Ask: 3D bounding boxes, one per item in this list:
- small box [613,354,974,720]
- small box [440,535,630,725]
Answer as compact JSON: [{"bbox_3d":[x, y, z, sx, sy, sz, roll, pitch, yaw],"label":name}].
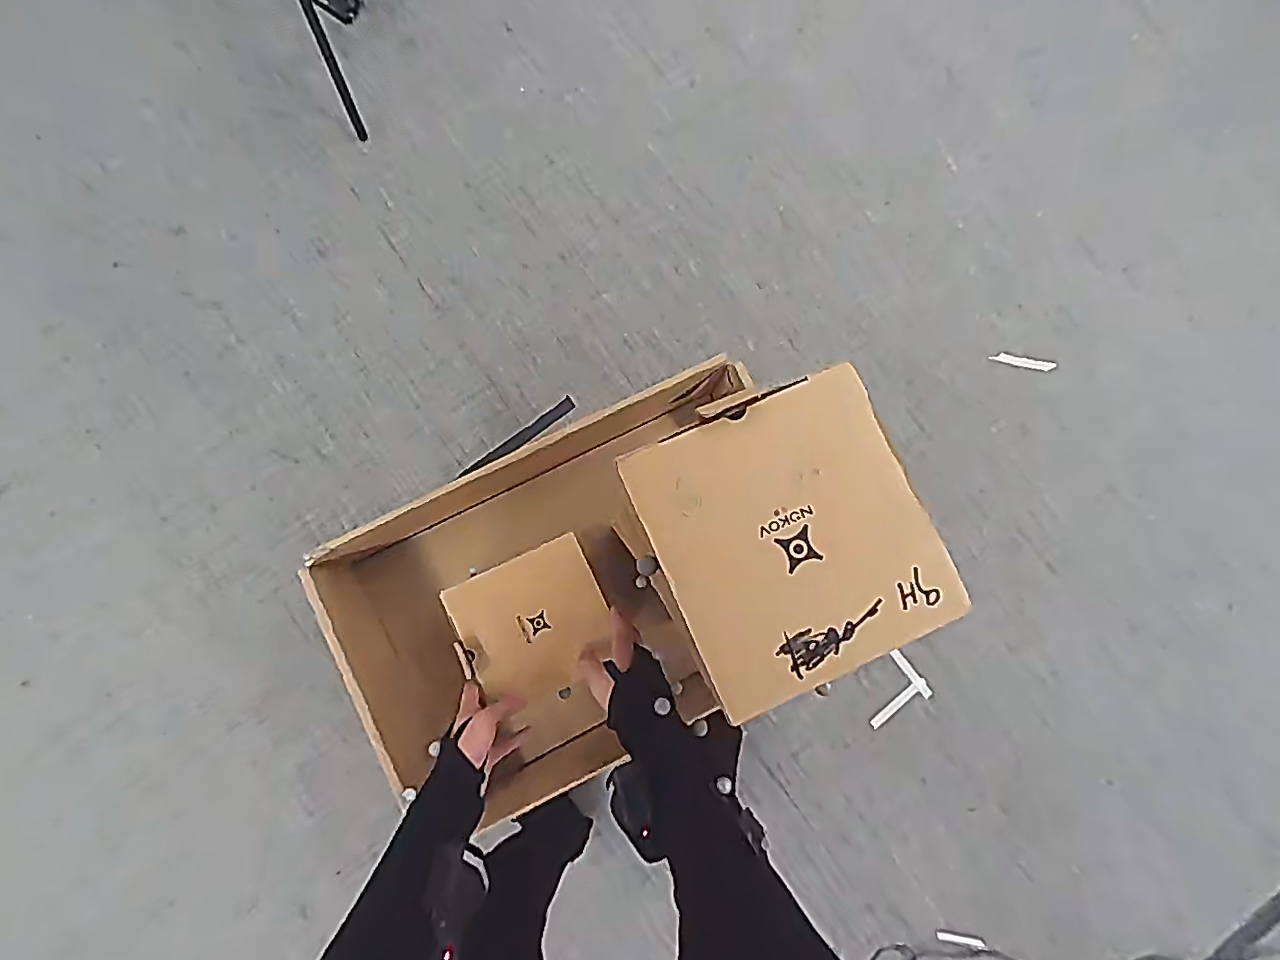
[{"bbox_3d":[0.088,0.040,0.401,0.168,0.176,0.179,-24,84,-3],"label":"small box"},{"bbox_3d":[-0.125,0.180,0.706,0.179,0.176,0.168,-26,84,-4],"label":"small box"}]
